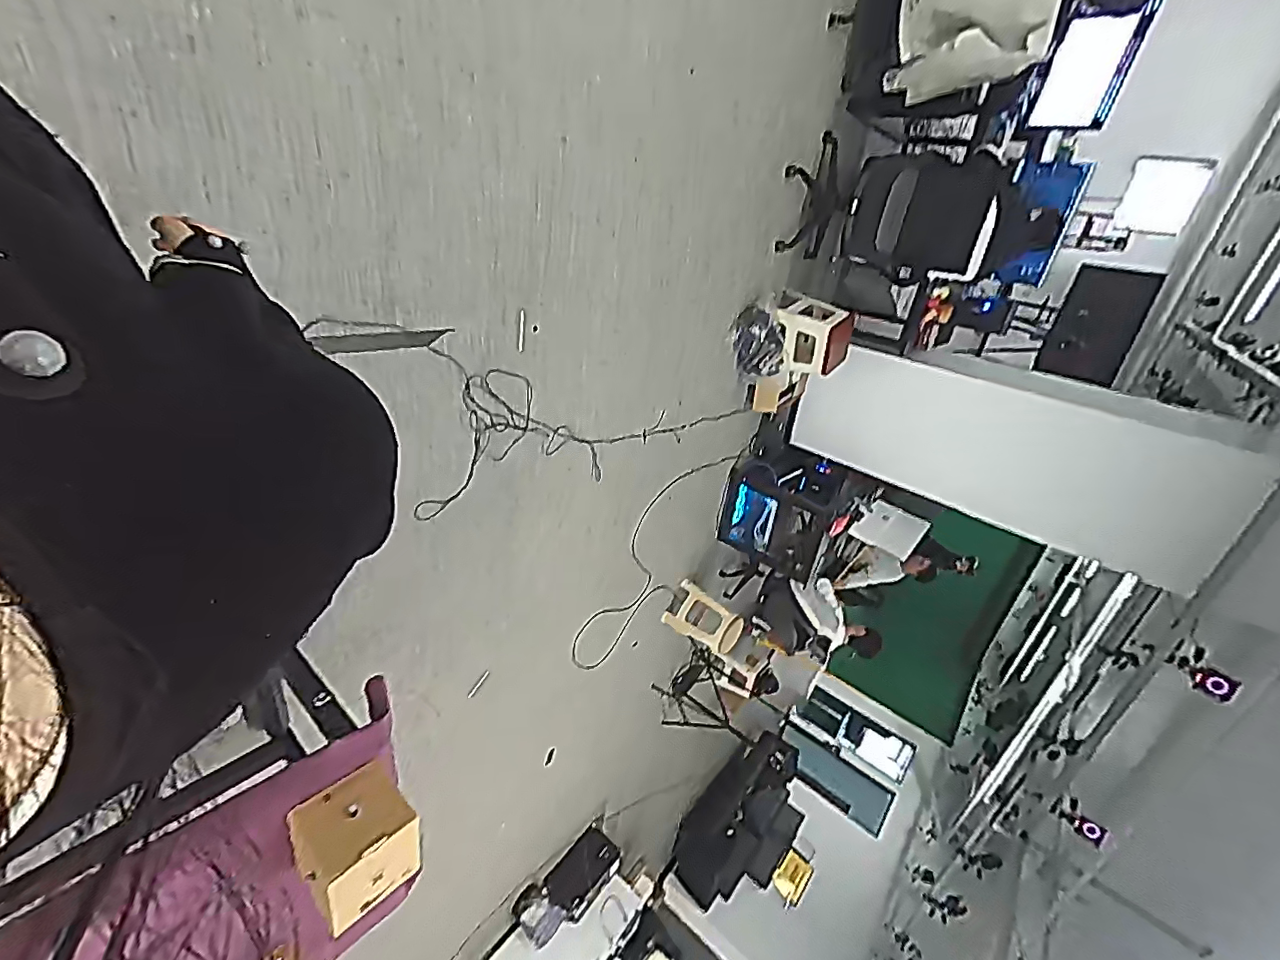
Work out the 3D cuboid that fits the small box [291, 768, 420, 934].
[{"bbox_3d":[-0.544,0.693,1.038,0.168,0.176,0.179,-20,129,-47],"label":"small box"}]
